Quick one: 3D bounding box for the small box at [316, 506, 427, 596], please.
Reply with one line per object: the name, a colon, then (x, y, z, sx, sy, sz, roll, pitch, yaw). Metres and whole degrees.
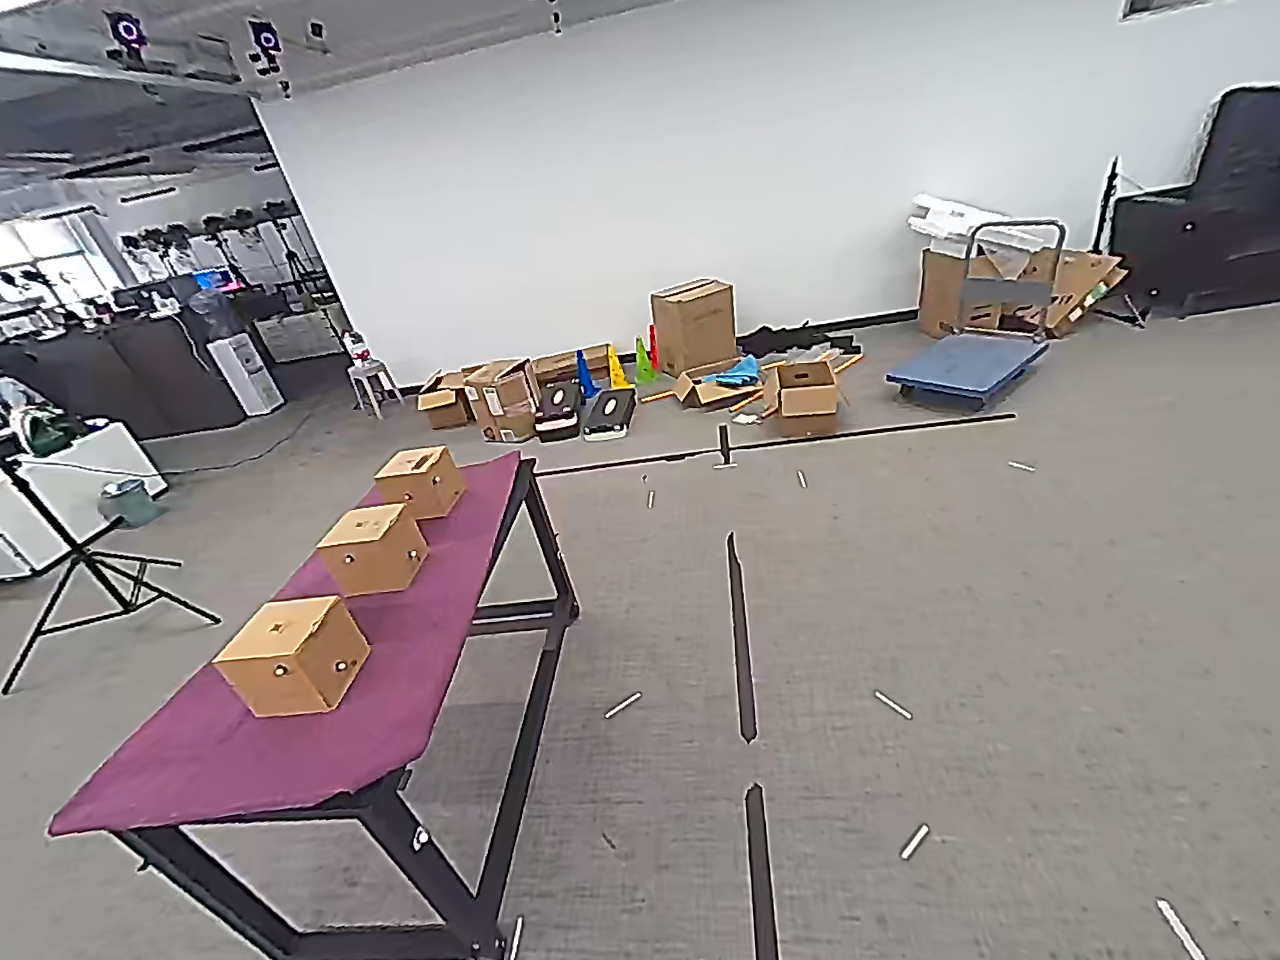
small box: (-0.701, 0.191, 1.432, 0.179, 0.176, 0.168, -7, 31, 7)

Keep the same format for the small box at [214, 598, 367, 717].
small box: (-0.714, 0.372, 1.129, 0.179, 0.176, 0.168, -7, 29, 6)
